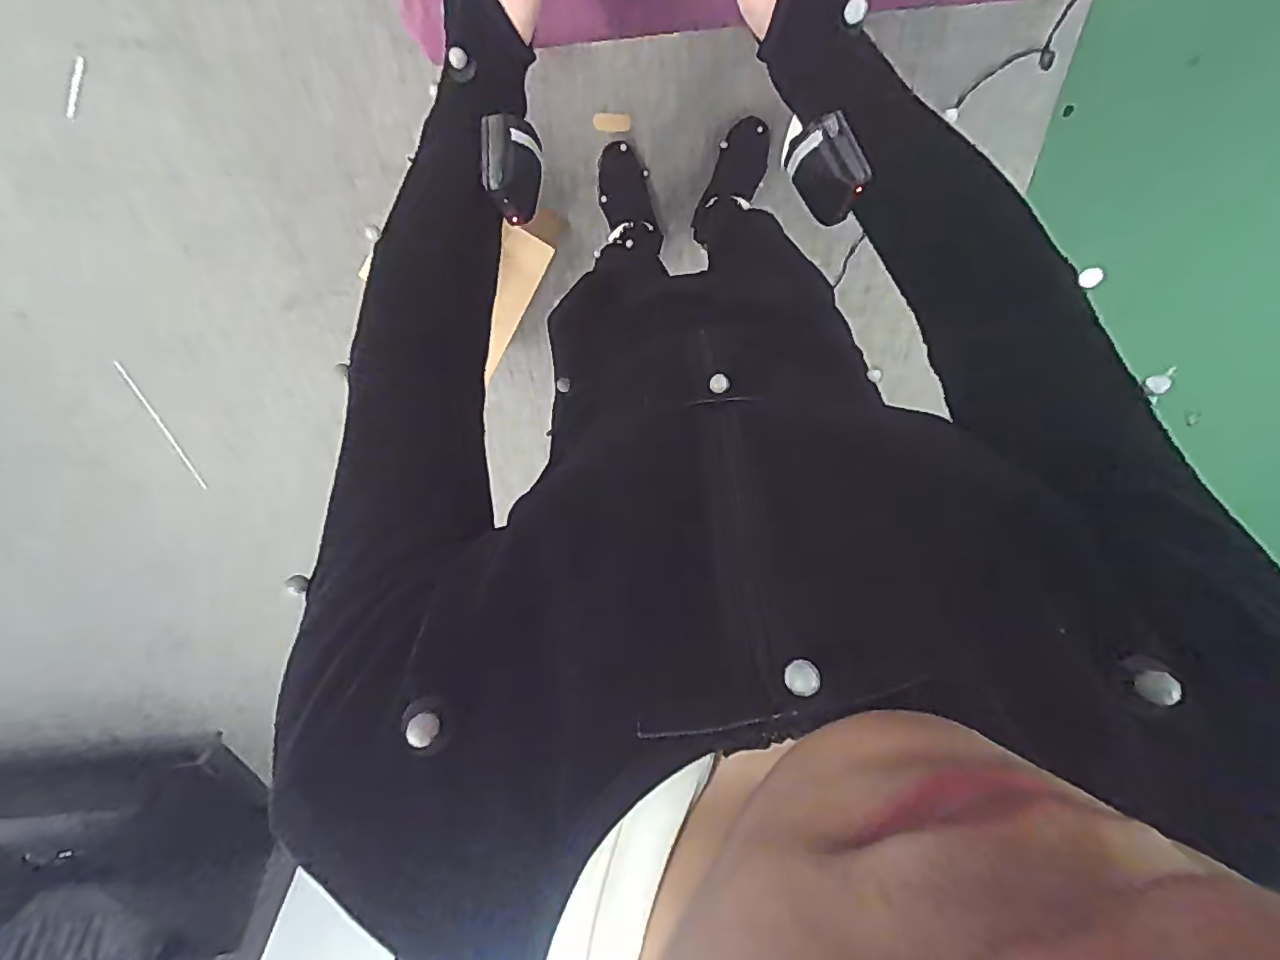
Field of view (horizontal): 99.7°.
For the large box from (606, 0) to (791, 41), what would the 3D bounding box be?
[{"bbox_3d":[0.084,-1.027,0.917,0.320,0.320,0.408,-4,125,1],"label":"large box"}]
